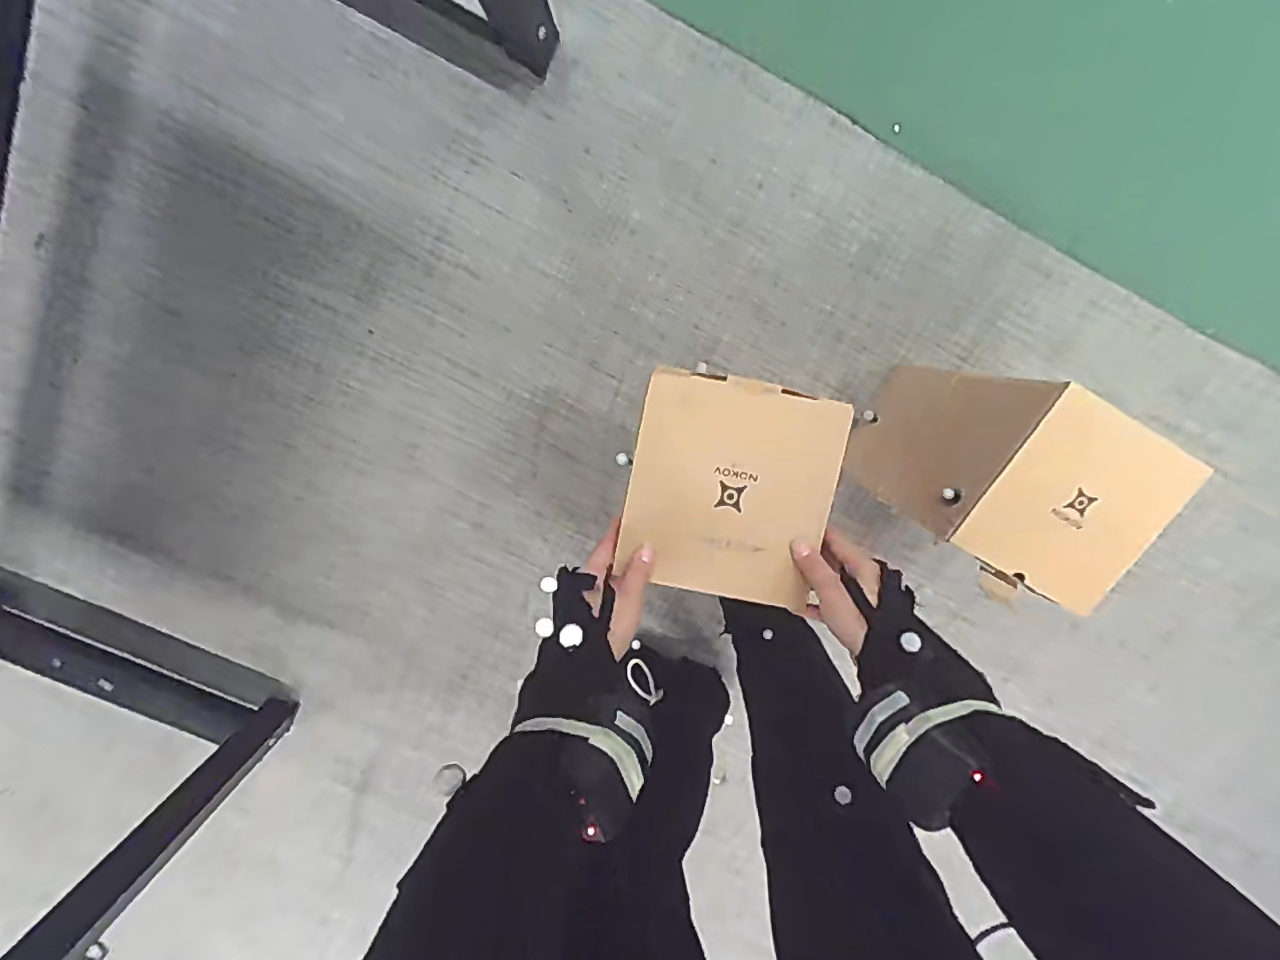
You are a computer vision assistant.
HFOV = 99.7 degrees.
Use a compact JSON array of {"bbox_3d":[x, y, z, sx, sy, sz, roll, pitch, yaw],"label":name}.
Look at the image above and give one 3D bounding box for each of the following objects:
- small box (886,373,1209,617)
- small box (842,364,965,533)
[{"bbox_3d":[0.398,0.002,0.569,0.168,0.176,0.179,29,104,-7],"label":"small box"},{"bbox_3d":[0.399,-0.039,0.728,0.168,0.176,0.179,27,105,-6],"label":"small box"}]
